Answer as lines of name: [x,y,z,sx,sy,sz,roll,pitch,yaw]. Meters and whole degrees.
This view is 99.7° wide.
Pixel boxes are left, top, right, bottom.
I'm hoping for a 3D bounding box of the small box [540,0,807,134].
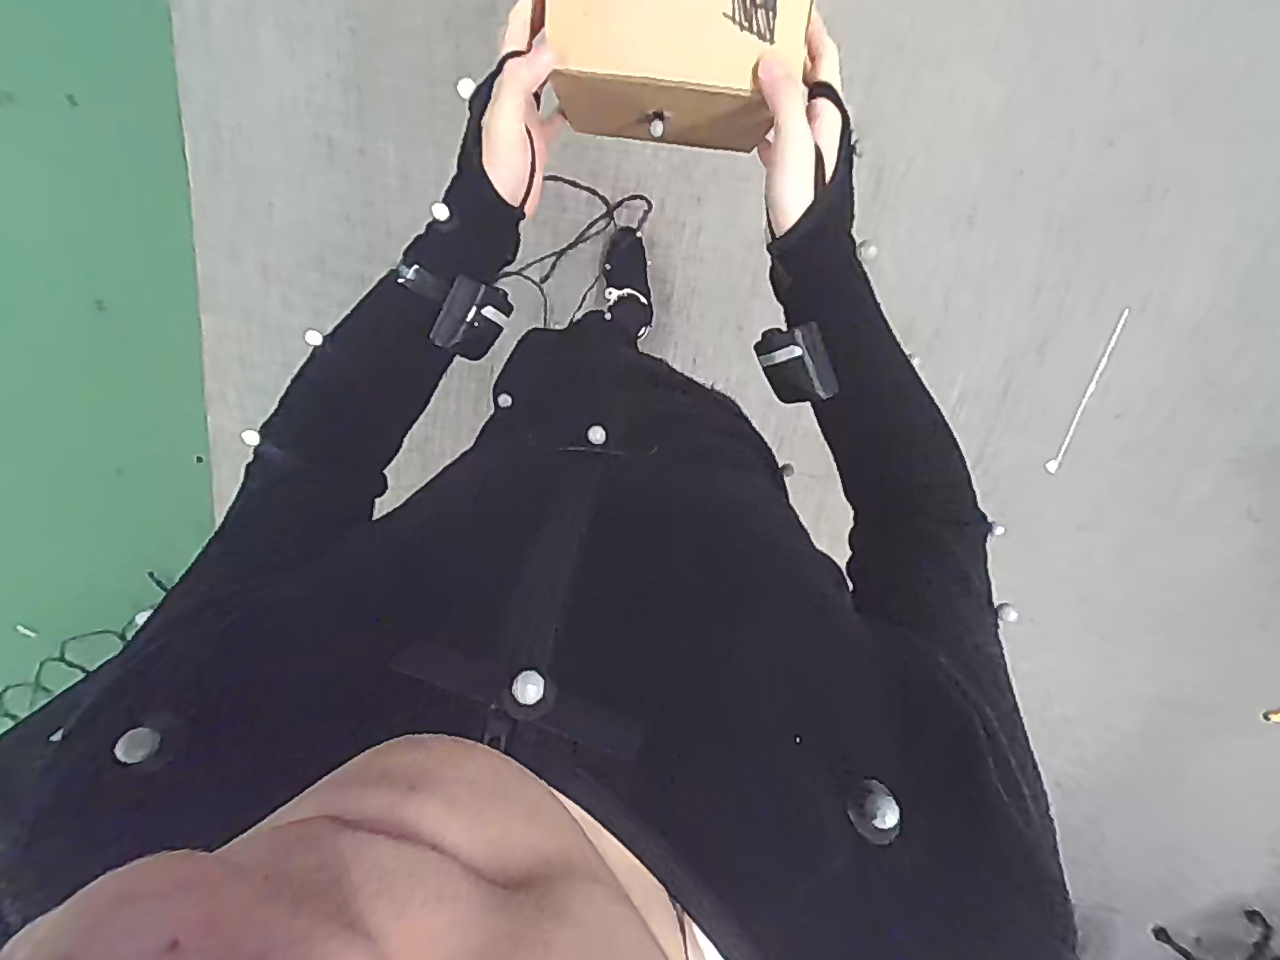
small box: [0.027,-0.383,0.413,0.179,0.176,0.168,5,110,-1]
